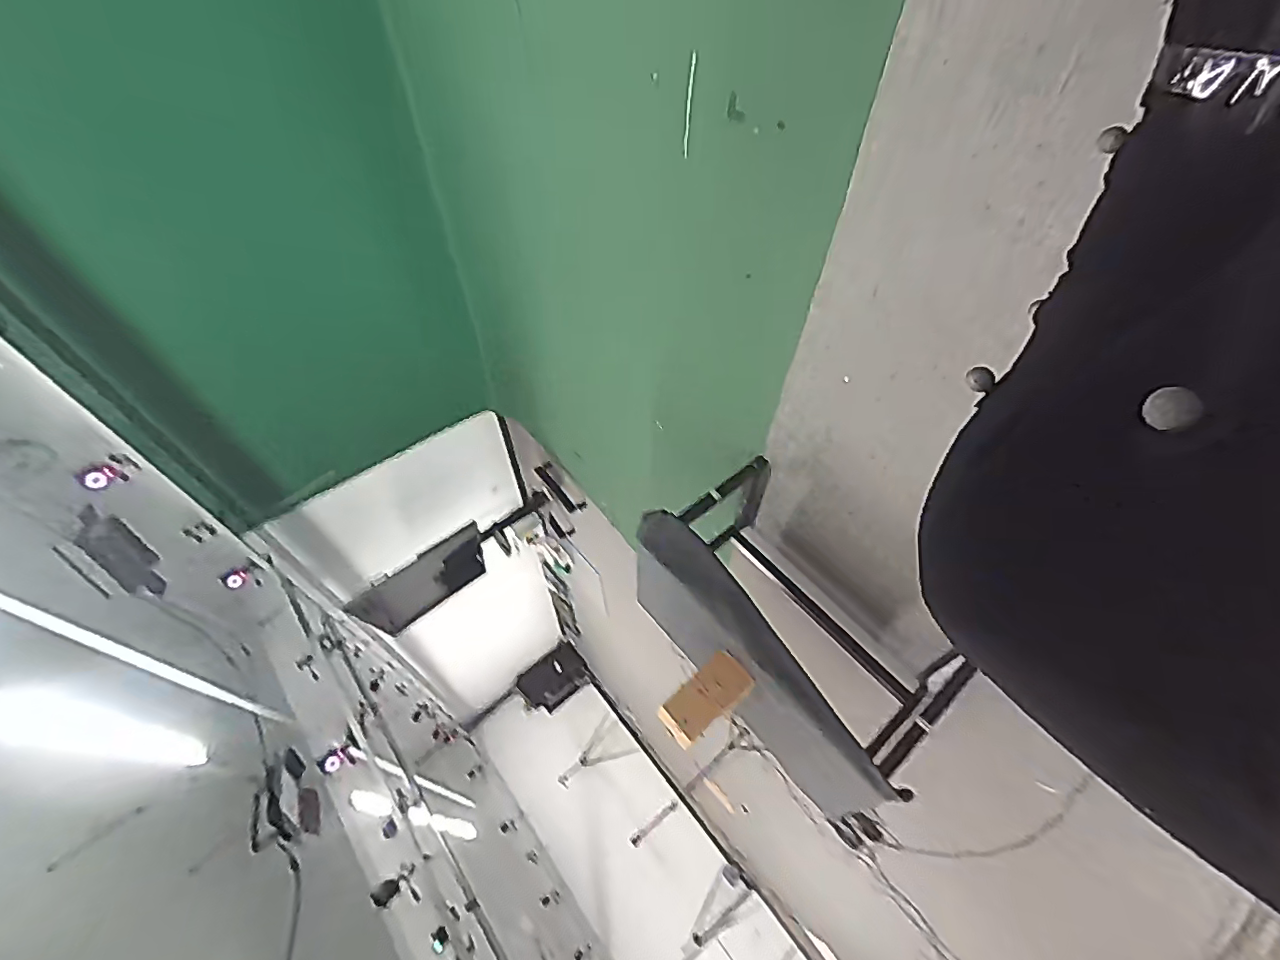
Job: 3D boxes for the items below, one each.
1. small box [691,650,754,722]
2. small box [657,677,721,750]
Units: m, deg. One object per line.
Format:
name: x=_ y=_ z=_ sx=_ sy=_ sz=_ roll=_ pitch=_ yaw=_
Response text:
small box: x=0.309 y=0.785 z=2.065 sx=0.179 sy=0.176 sz=0.168 roll=47 pitch=154 yaw=27
small box: x=0.181 y=0.864 z=2.006 sx=0.168 sy=0.176 sz=0.179 roll=46 pitch=154 yaw=28
